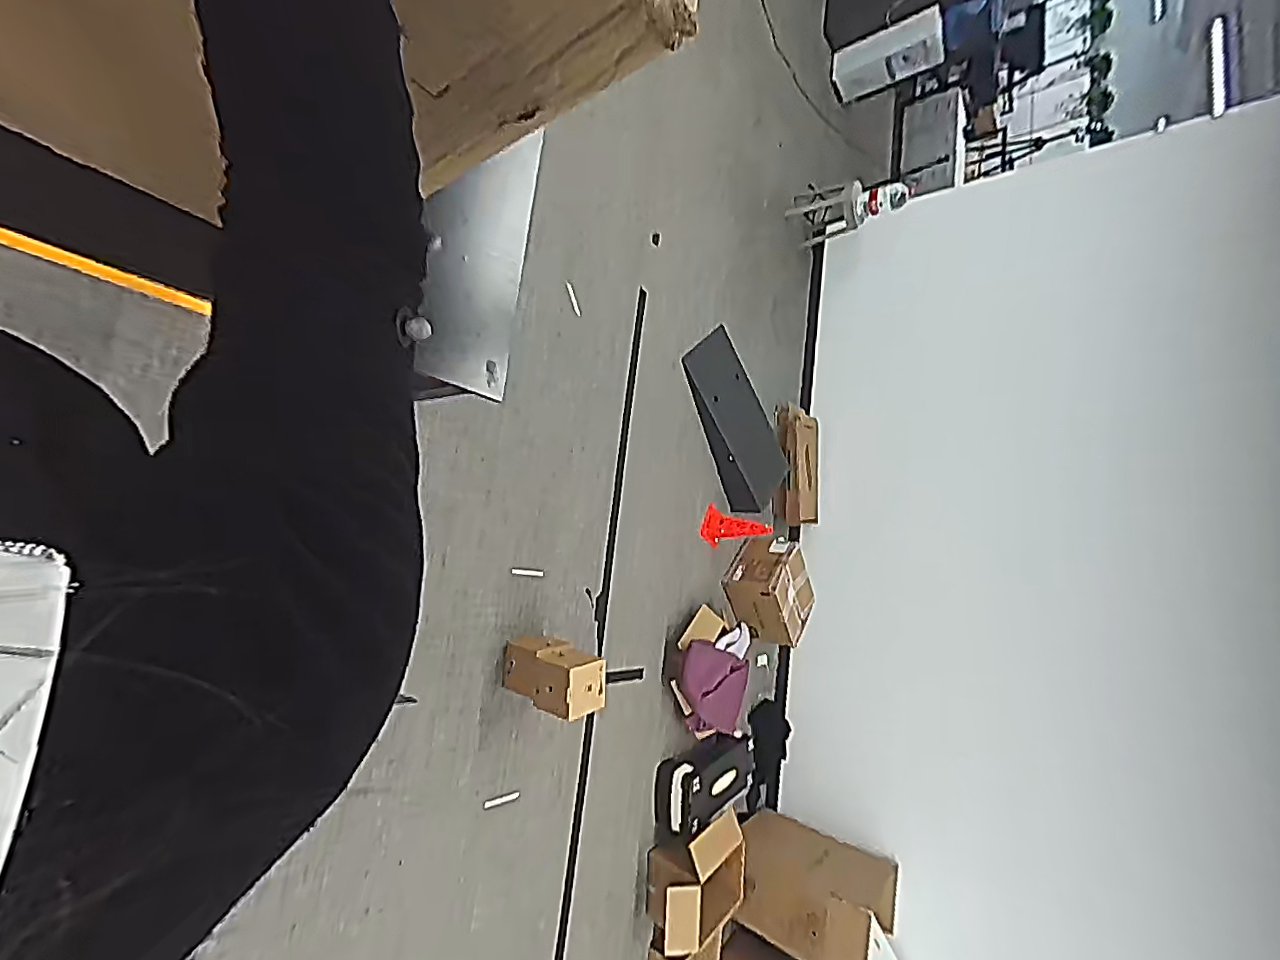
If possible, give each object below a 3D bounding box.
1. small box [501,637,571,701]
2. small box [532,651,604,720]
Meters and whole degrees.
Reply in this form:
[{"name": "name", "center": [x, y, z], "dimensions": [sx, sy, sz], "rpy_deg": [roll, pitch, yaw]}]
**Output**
[{"name": "small box", "center": [-0.369, 0.664, 1.922], "dimensions": [0.179, 0.176, 0.168], "rpy_deg": [8, 84, -50]}, {"name": "small box", "center": [-0.243, 0.683, 1.817], "dimensions": [0.179, 0.176, 0.168], "rpy_deg": [6, 85, -51]}]
